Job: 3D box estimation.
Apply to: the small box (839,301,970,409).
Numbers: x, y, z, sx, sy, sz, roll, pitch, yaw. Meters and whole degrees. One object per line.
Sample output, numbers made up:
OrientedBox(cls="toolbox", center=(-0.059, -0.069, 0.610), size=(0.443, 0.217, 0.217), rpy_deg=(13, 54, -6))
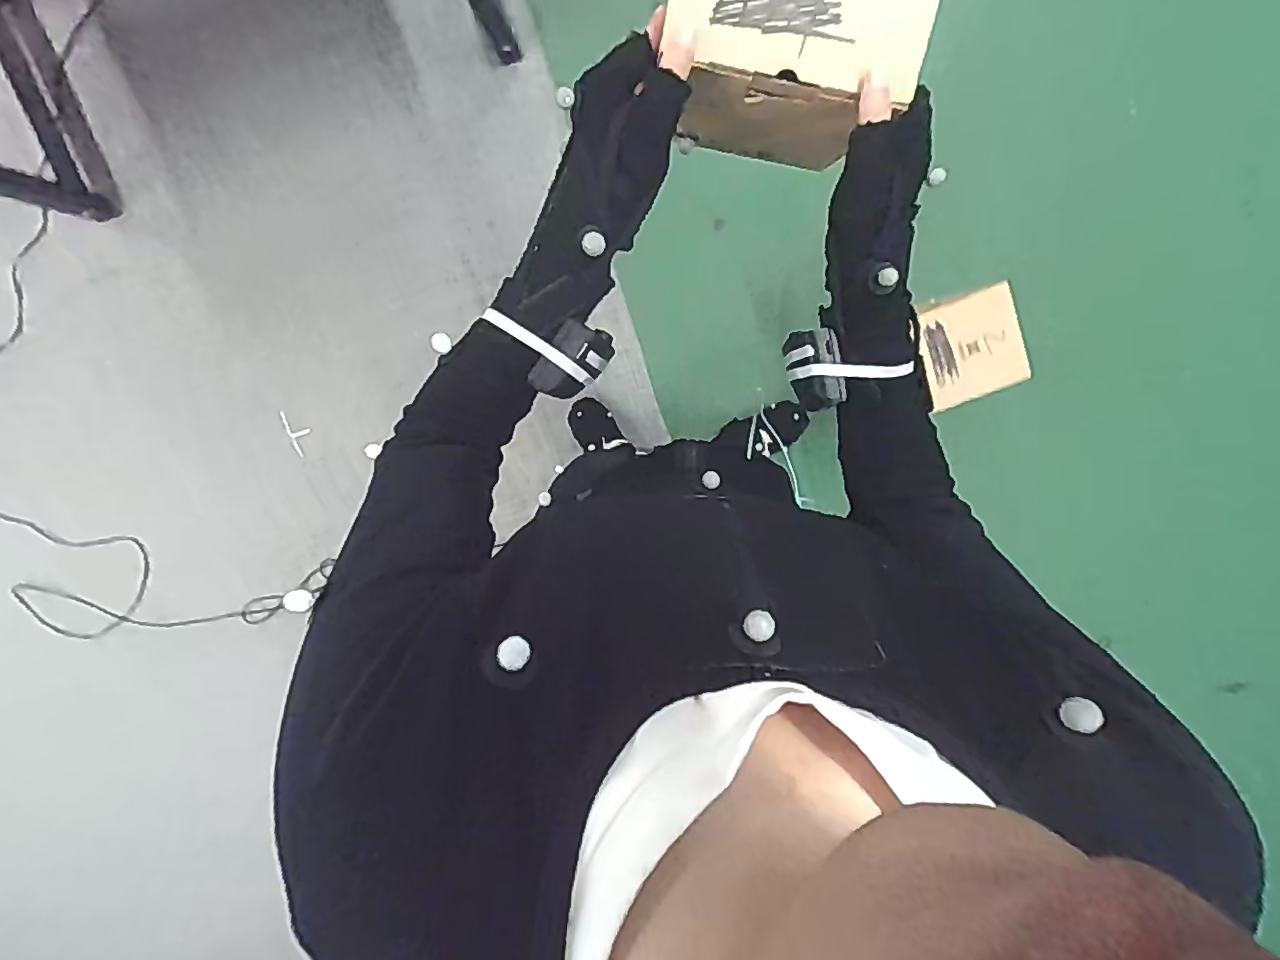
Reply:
OrientedBox(cls="small box", center=(0.554, -0.265, 1.150), size=(0.179, 0.176, 0.168), rpy_deg=(-21, 100, 7))

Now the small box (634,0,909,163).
OrientedBox(cls="small box", center=(0.090, -0.359, 0.397), size=(0.168, 0.176, 0.179), rpy_deg=(8, 106, -4))

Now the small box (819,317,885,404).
OrientedBox(cls="small box", center=(0.560, -0.294, 1.309), size=(0.179, 0.176, 0.168), rpy_deg=(-19, 99, 6))
